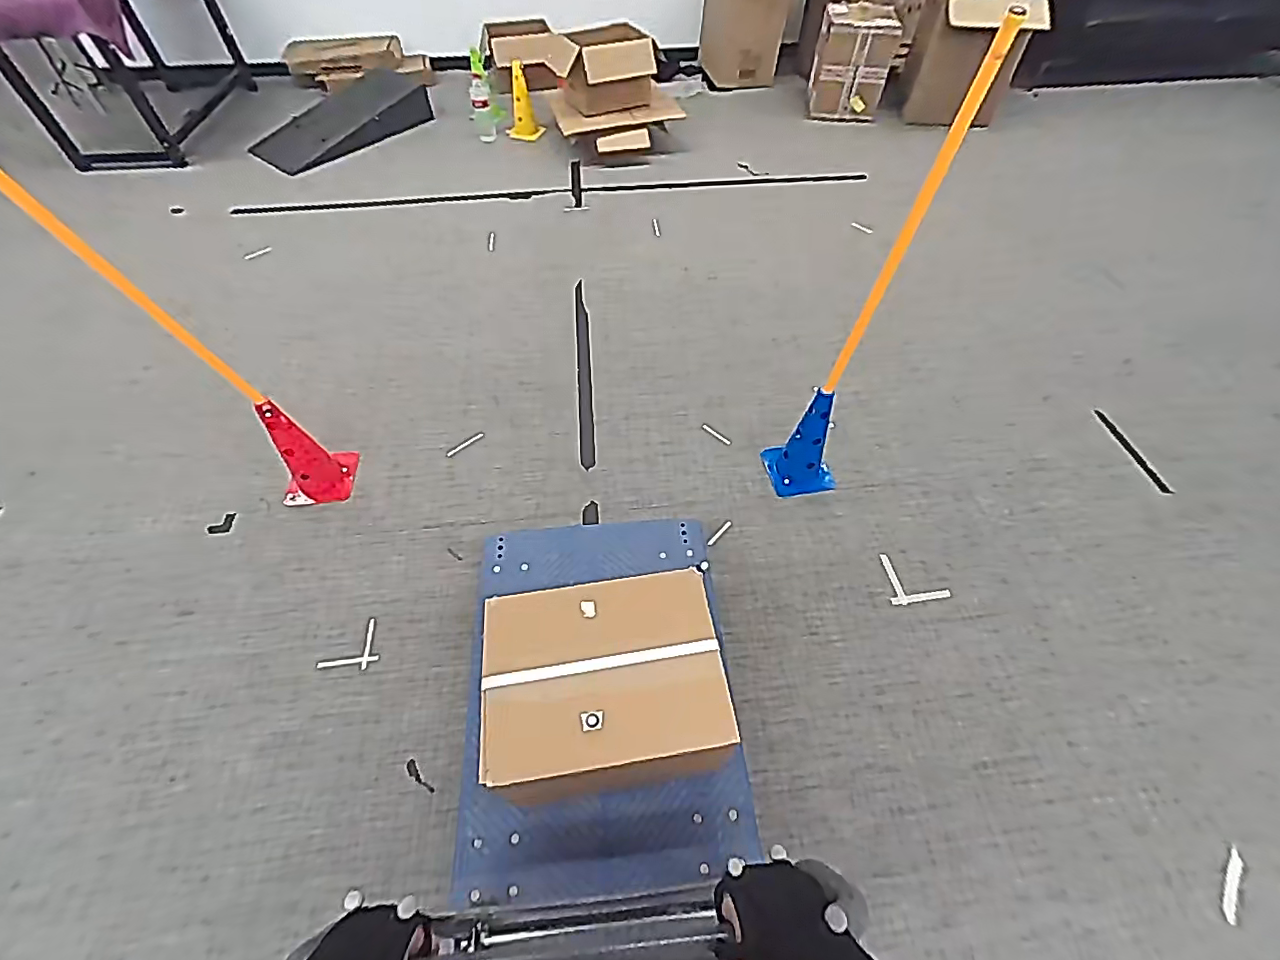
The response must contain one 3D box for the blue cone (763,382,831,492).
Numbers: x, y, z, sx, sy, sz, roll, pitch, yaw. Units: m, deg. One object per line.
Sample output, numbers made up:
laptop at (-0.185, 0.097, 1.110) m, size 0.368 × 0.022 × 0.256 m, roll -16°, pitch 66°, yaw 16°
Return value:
blue cone at (0.517, -0.140, 1.648) m, size 0.193 × 0.380 × 0.192 m, roll -8°, pitch 53°, yaw -6°
